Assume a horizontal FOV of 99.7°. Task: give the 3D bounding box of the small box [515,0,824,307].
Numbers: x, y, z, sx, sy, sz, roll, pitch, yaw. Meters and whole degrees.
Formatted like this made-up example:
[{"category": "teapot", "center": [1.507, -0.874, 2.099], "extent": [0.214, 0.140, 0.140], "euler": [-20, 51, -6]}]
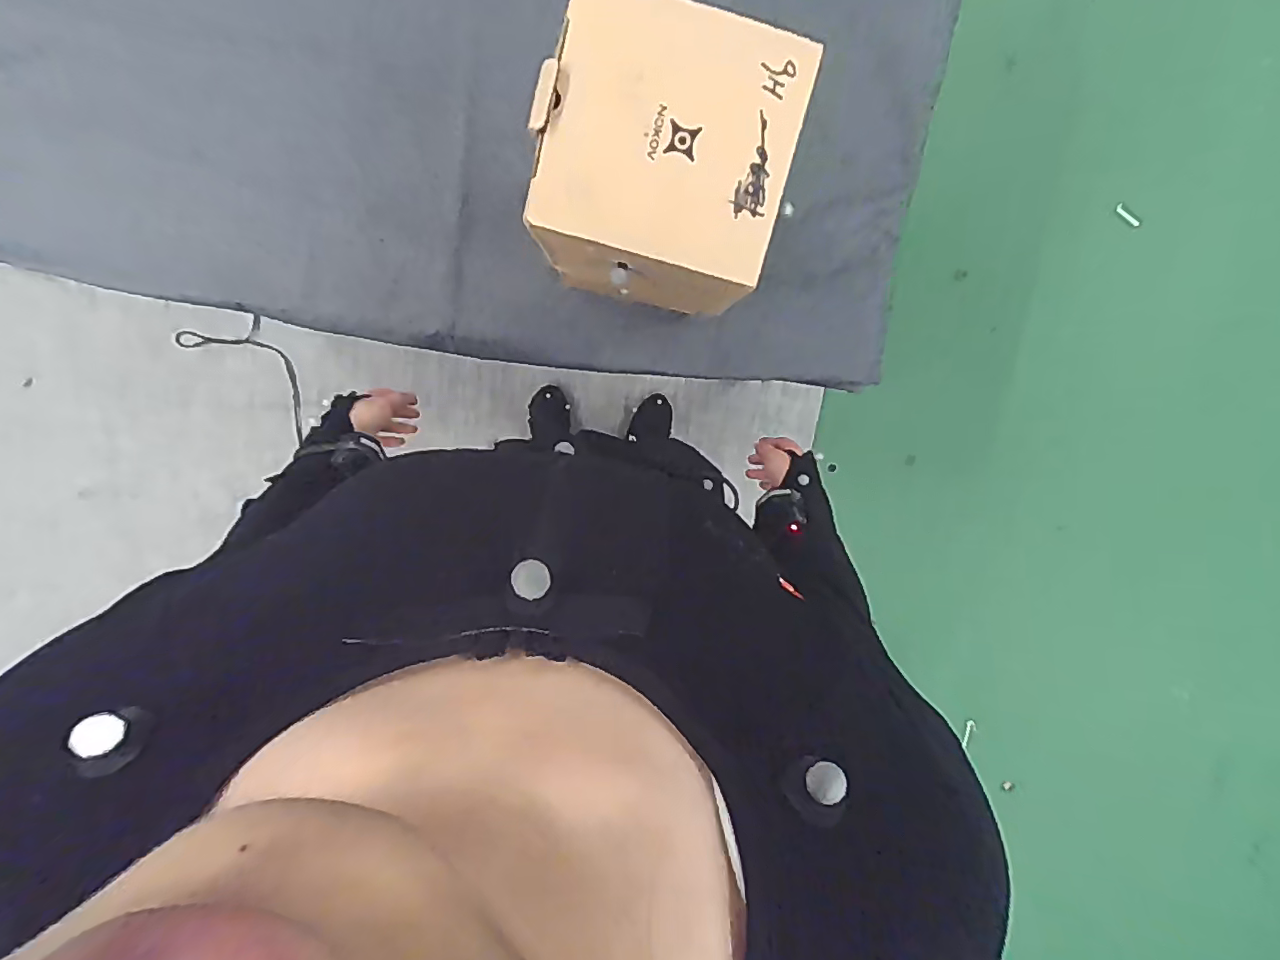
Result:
[{"category": "small box", "center": [0.017, -0.250, 0.442], "extent": [0.179, 0.176, 0.168], "euler": [15, 100, -3]}]
